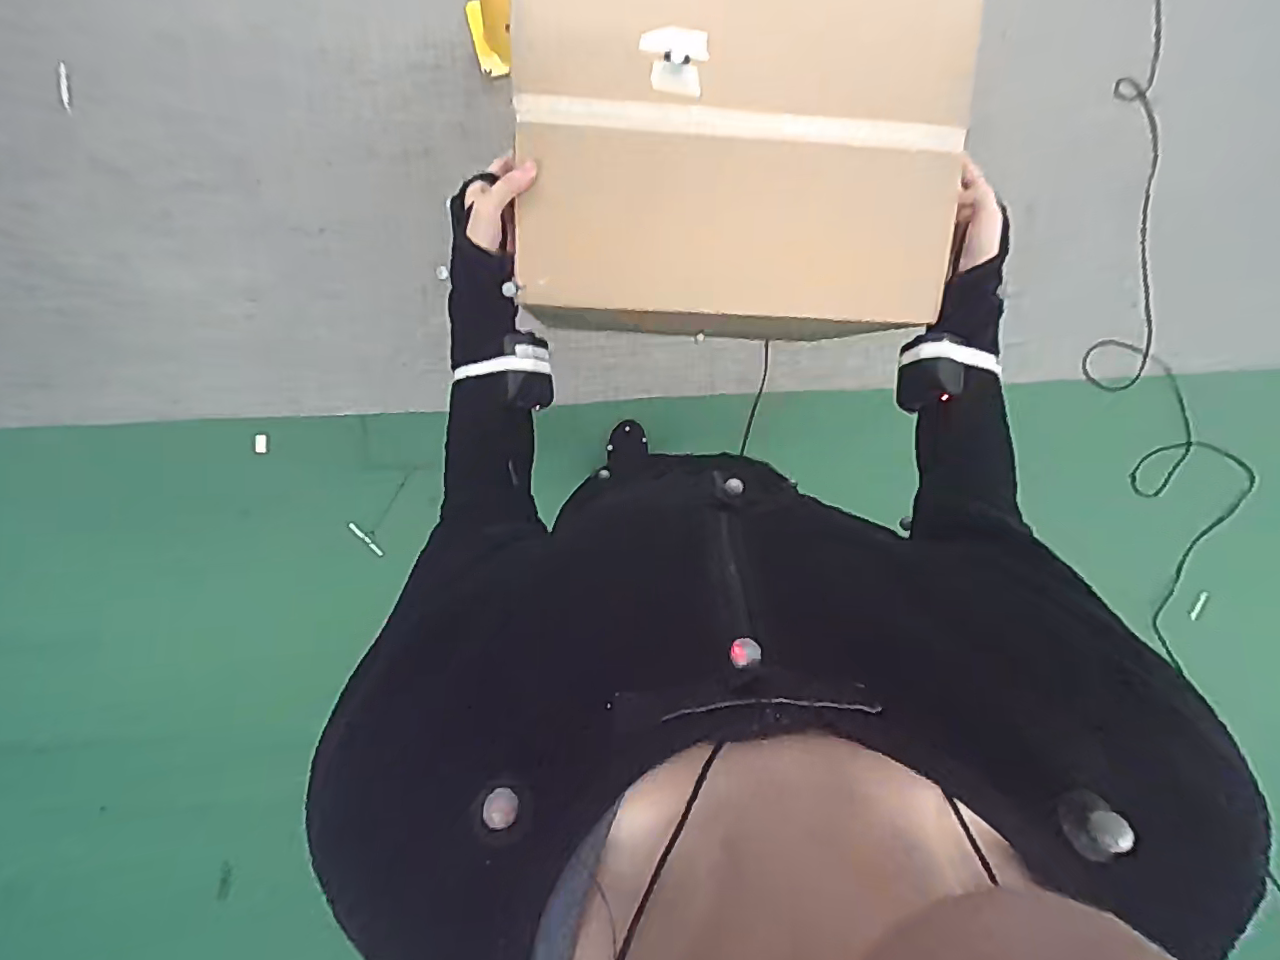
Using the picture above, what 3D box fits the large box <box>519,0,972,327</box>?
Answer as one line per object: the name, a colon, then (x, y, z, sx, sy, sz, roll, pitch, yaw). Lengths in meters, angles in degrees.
large box: (0.085, -0.350, 0.633, 0.408, 0.320, 0.320, 2, 101, -4)
